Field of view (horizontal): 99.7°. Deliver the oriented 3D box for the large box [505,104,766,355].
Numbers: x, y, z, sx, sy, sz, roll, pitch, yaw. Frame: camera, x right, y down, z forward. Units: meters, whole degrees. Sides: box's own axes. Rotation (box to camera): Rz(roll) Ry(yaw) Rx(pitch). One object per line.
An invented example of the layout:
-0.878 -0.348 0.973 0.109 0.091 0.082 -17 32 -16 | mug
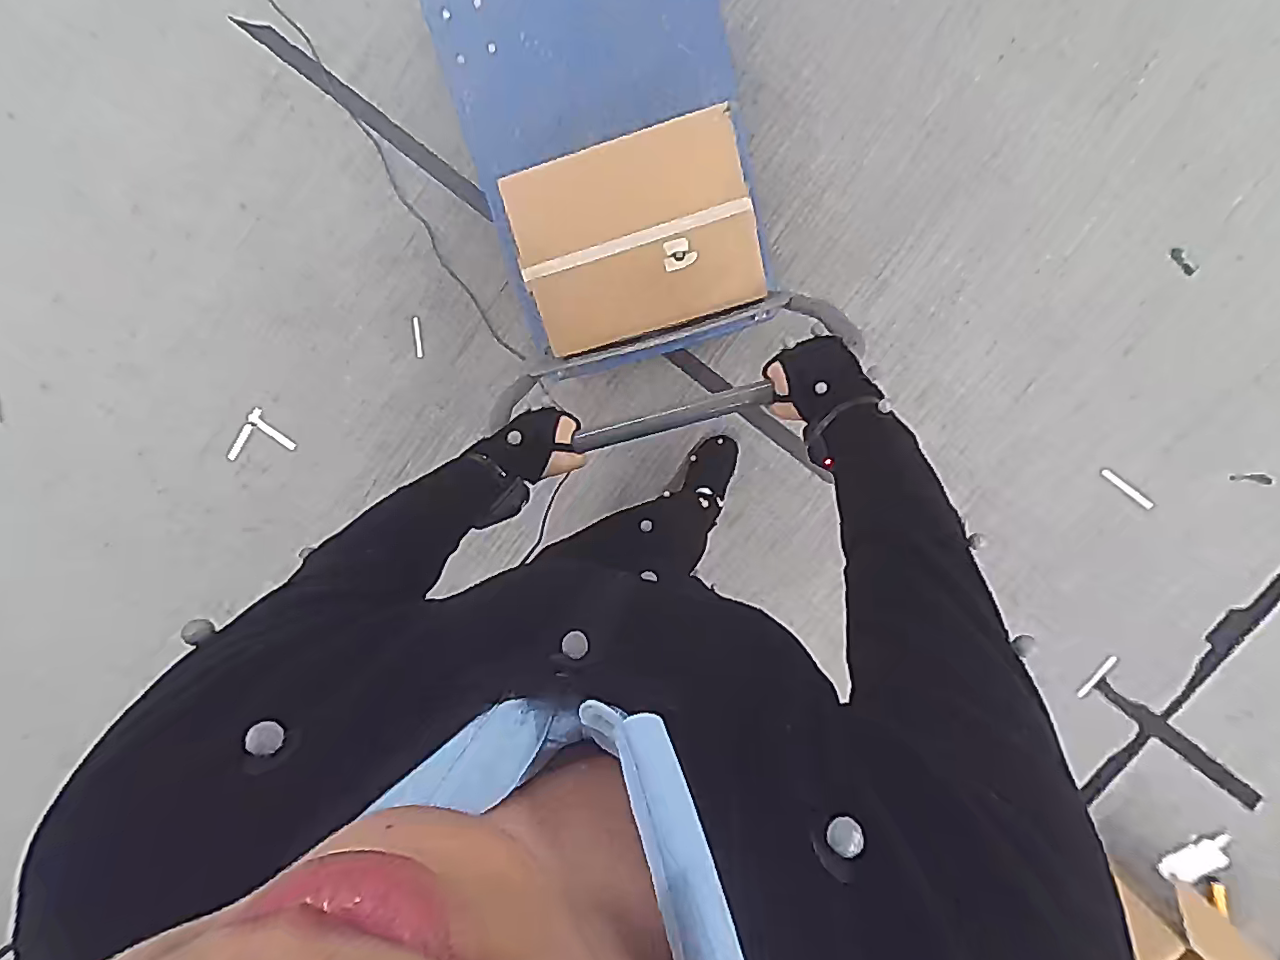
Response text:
-0.001 -0.469 1.094 0.408 0.320 0.320 -16 107 6 | large box
